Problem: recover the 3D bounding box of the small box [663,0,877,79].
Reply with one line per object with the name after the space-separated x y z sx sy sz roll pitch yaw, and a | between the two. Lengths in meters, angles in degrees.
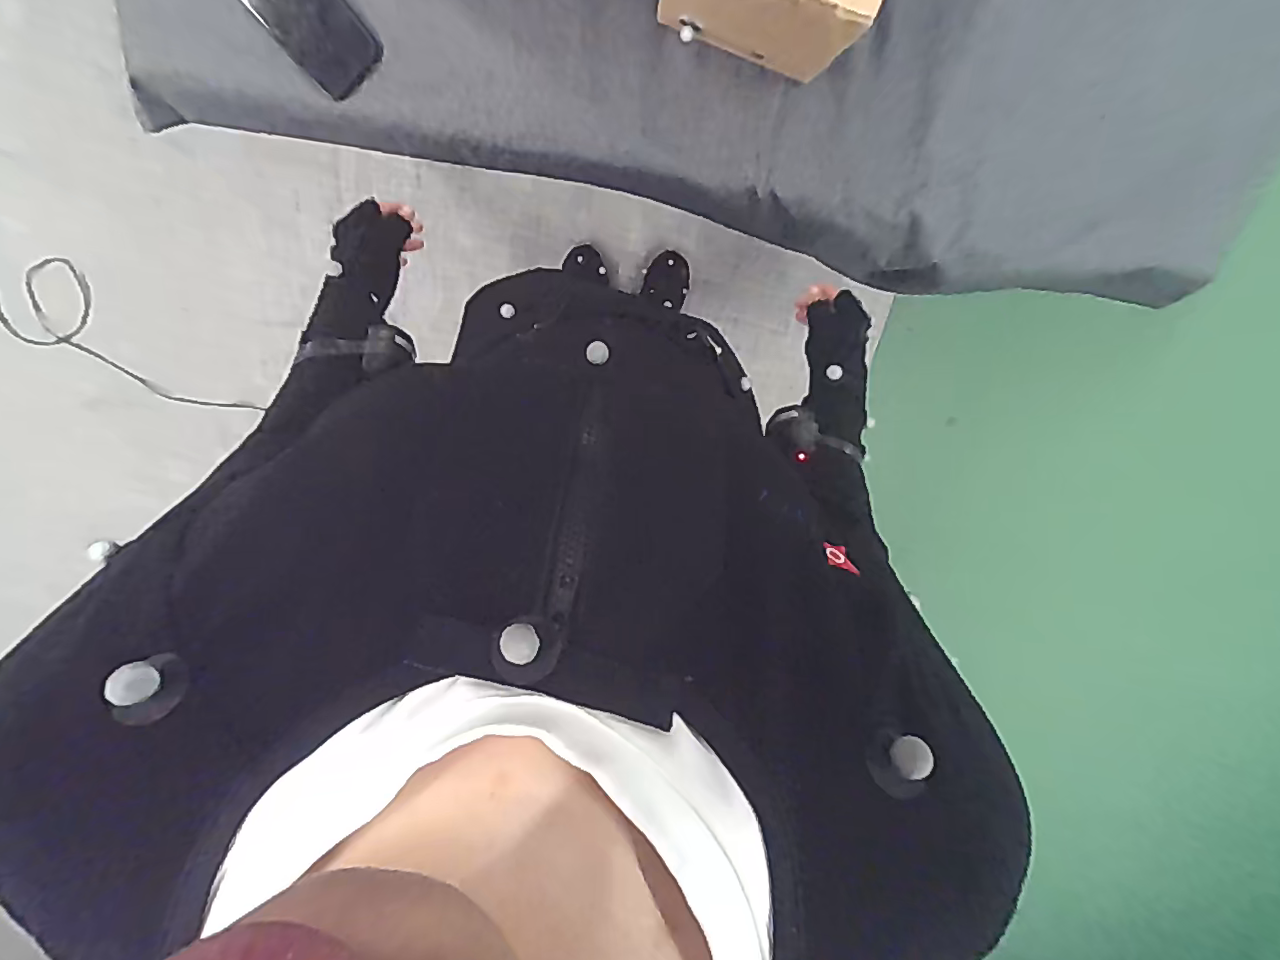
0.120 -0.468 0.437 0.168 0.176 0.179 16 112 -8 | small box
